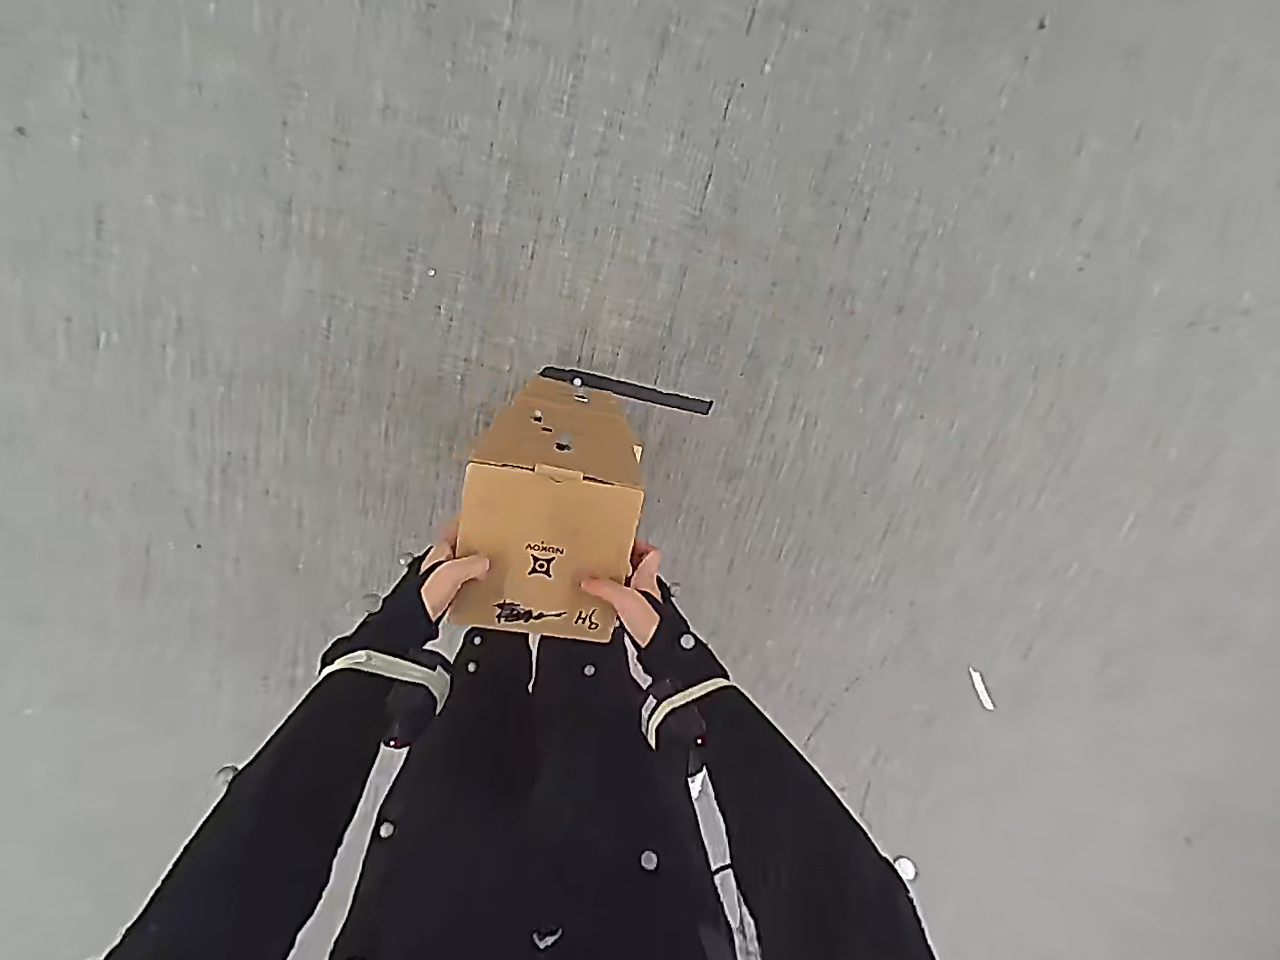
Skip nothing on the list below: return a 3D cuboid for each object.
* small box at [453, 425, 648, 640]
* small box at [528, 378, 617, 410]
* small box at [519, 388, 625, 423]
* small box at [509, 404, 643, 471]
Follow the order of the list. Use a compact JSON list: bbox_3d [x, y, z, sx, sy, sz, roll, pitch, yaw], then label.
[{"bbox_3d":[-0.097,0.047,0.597,0.168,0.176,0.179,10,107,-9],"label":"small box"},{"bbox_3d":[-0.145,-0.094,1.069,0.168,0.176,0.179,11,105,-9],"label":"small box"},{"bbox_3d":[-0.126,-0.048,0.915,0.168,0.176,0.179,10,104,-10],"label":"small box"},{"bbox_3d":[-0.105,-0.003,0.760,0.179,0.176,0.168,10,106,-9],"label":"small box"}]
